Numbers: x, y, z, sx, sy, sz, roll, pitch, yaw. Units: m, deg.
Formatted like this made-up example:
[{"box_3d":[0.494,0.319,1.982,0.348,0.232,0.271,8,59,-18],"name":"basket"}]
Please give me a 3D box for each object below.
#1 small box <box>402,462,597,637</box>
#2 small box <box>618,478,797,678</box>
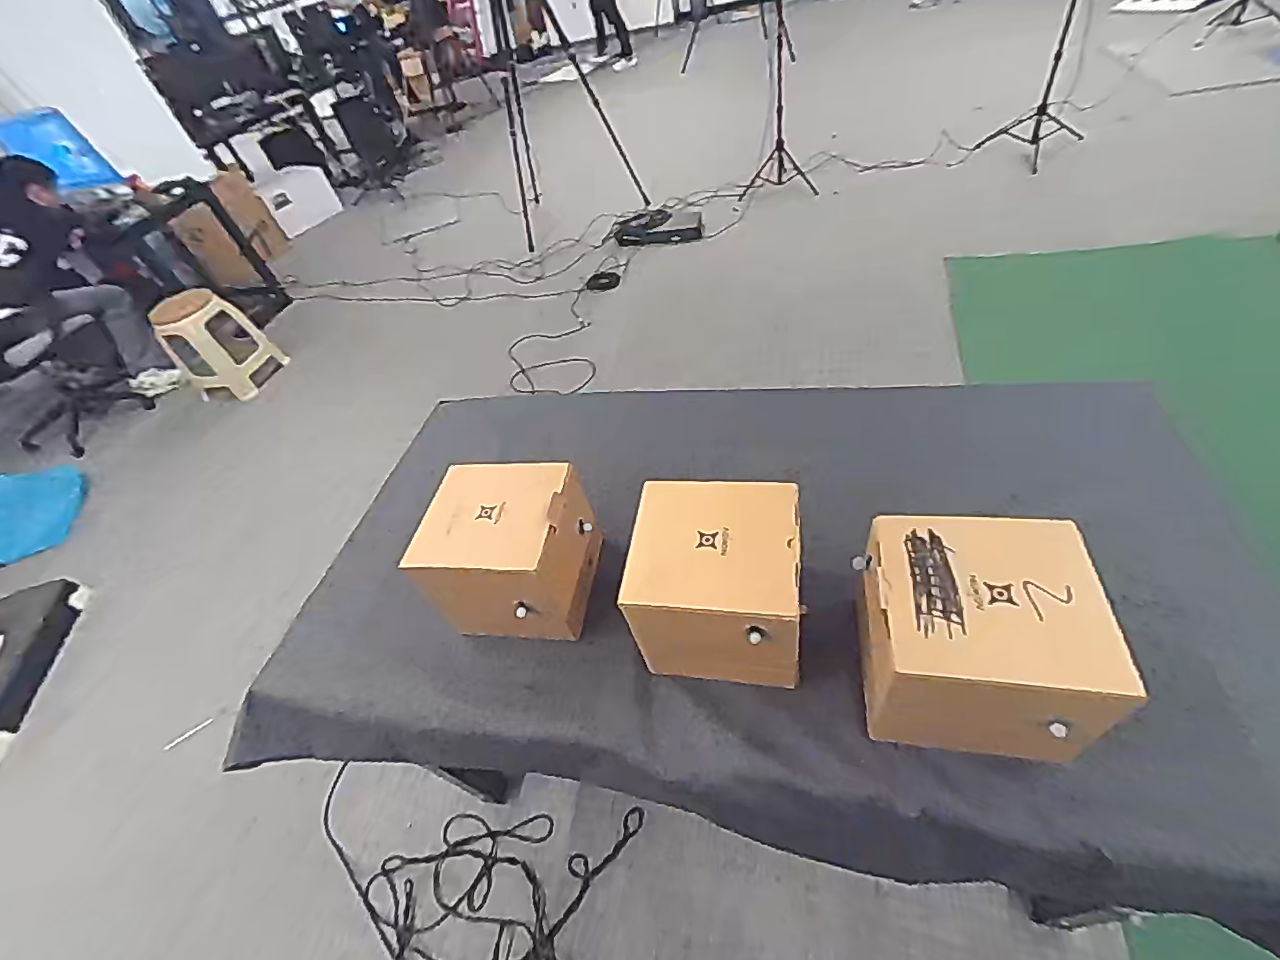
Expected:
[{"box_3d":[-0.167,0.094,0.715,0.179,0.176,0.168,-1,46,14],"name":"small box"},{"box_3d":[0.090,0.114,0.627,0.179,0.176,0.168,1,48,15],"name":"small box"}]
